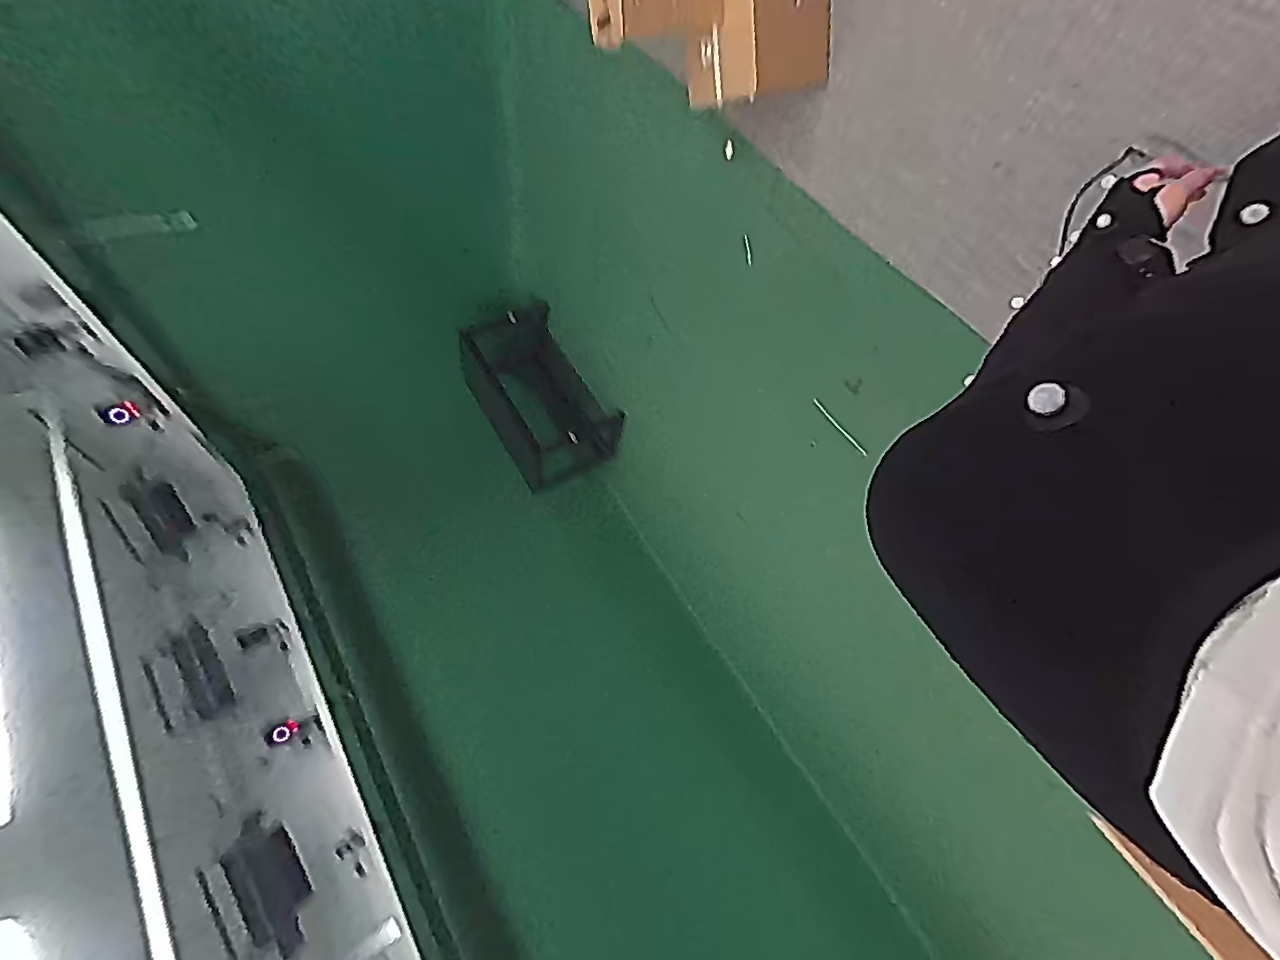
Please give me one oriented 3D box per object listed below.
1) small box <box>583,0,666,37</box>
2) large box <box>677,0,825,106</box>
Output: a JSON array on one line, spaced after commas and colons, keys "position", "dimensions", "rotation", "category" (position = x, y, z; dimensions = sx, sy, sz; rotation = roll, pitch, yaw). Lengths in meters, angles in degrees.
[{"position": [-0.042, -1.309, 1.444], "dimensions": [0.168, 0.176, 0.179], "rotation": [39, 146, 43], "category": "small box"}, {"position": [0.331, -1.402, 1.612], "dimensions": [0.320, 0.320, 0.408], "rotation": [34, 144, 49], "category": "large box"}]
